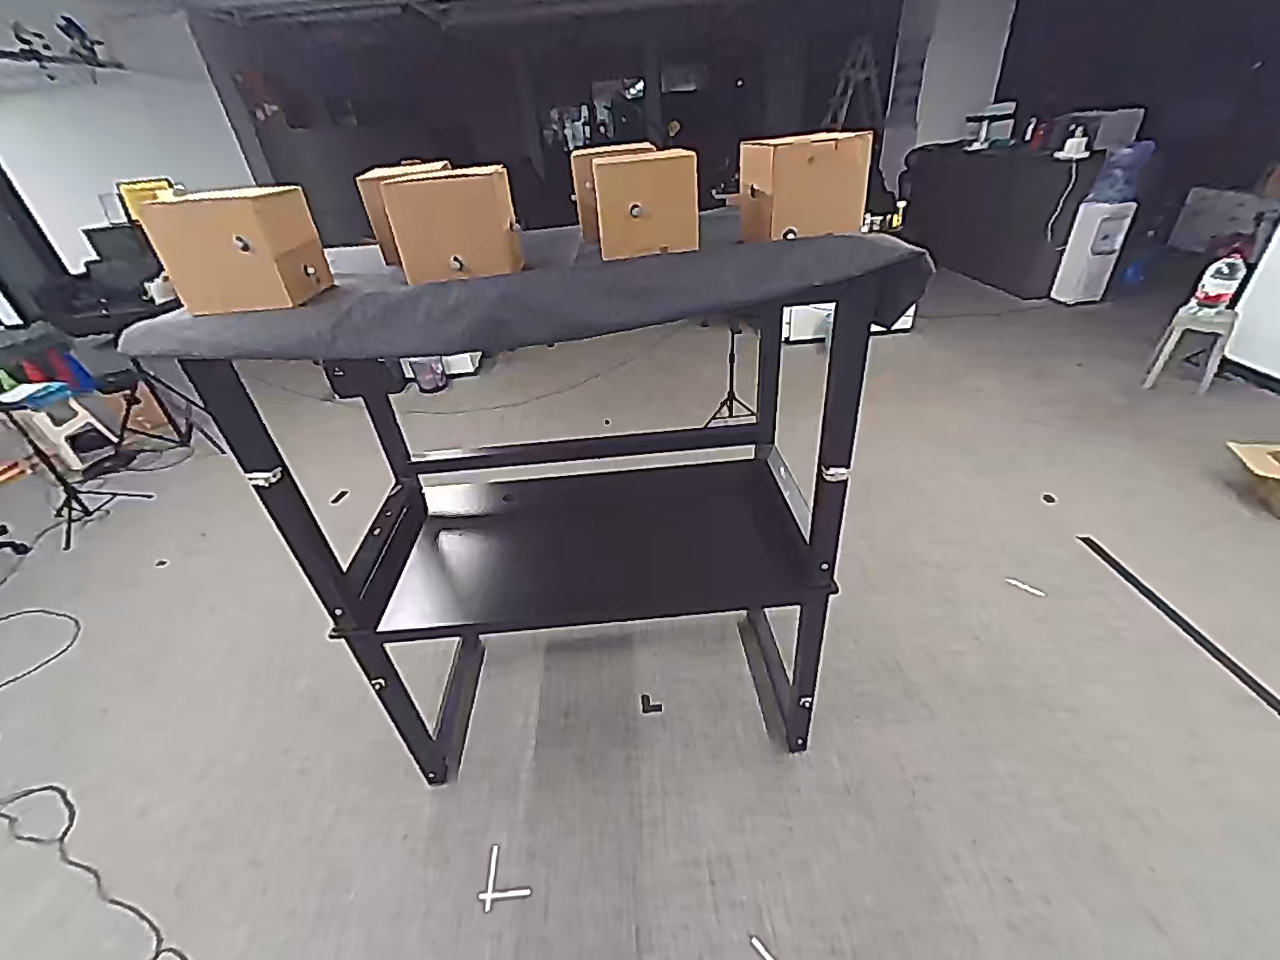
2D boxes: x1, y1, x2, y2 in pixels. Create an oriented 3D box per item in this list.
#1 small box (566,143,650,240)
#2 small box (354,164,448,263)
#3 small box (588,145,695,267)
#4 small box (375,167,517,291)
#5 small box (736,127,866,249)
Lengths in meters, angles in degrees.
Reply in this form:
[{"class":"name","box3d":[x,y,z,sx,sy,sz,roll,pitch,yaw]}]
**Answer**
[{"class":"small box","box3d":[-0.060,-0.639,1.198,0.179,0.176,0.168,-6,34,0]},{"class":"small box","box3d":[-0.489,-0.580,1.178,0.168,0.176,0.179,-11,34,-5]},{"class":"small box","box3d":[0.001,-0.485,0.962,0.168,0.176,0.179,-7,33,-2]},{"class":"small box","box3d":[-0.318,-0.434,0.933,0.179,0.176,0.168,-6,32,-1]},{"class":"small box","box3d":[0.275,-0.513,0.955,0.168,0.176,0.179,-9,33,-4]}]
